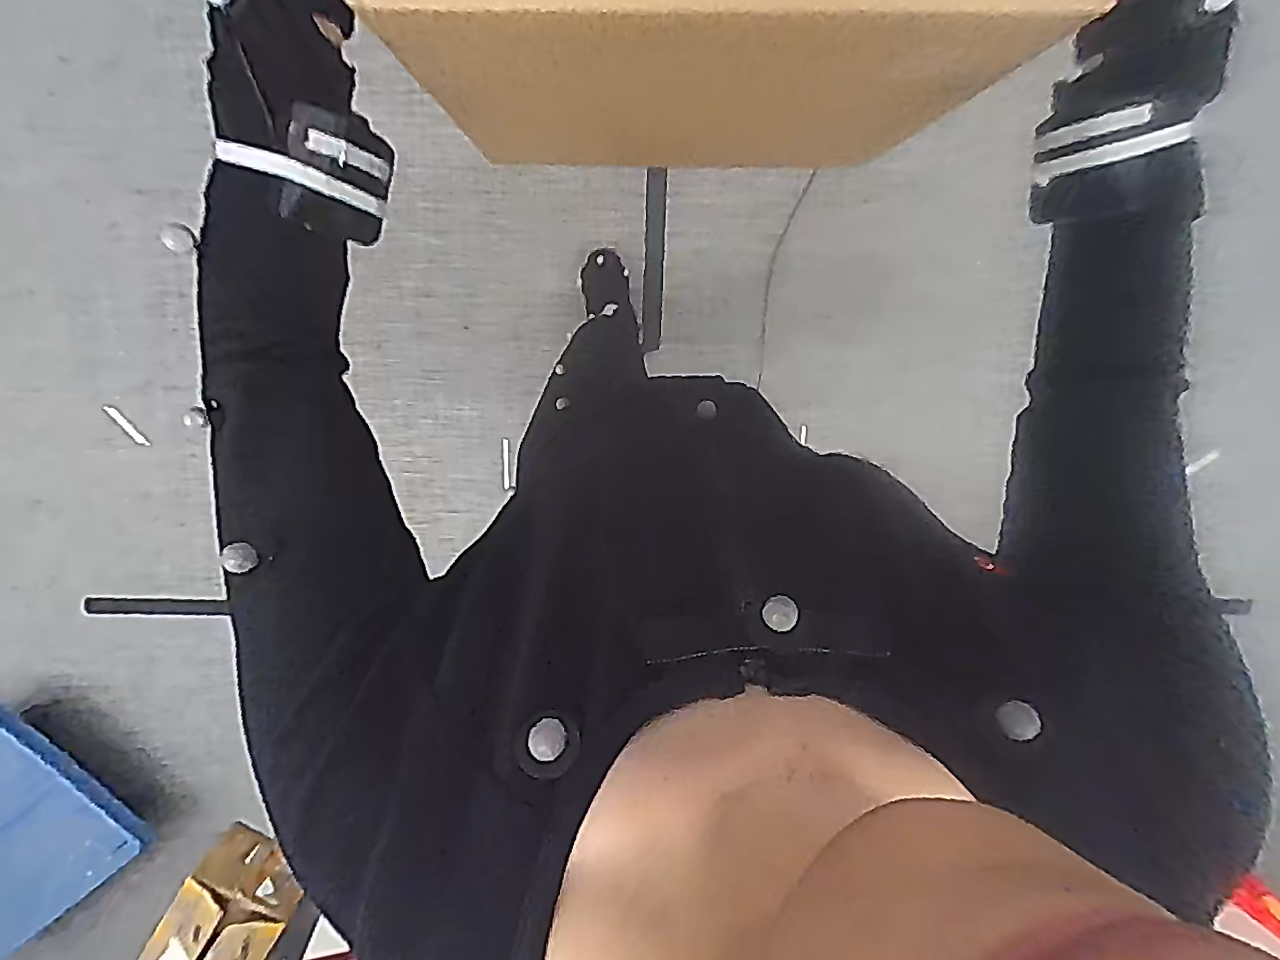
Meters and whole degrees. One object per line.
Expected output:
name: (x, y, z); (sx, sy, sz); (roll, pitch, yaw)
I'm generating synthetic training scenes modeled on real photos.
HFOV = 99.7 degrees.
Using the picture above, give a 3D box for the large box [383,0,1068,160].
large box: (0.043, -0.447, 0.387); (0.408, 0.320, 0.320); (-1, 107, -2)
